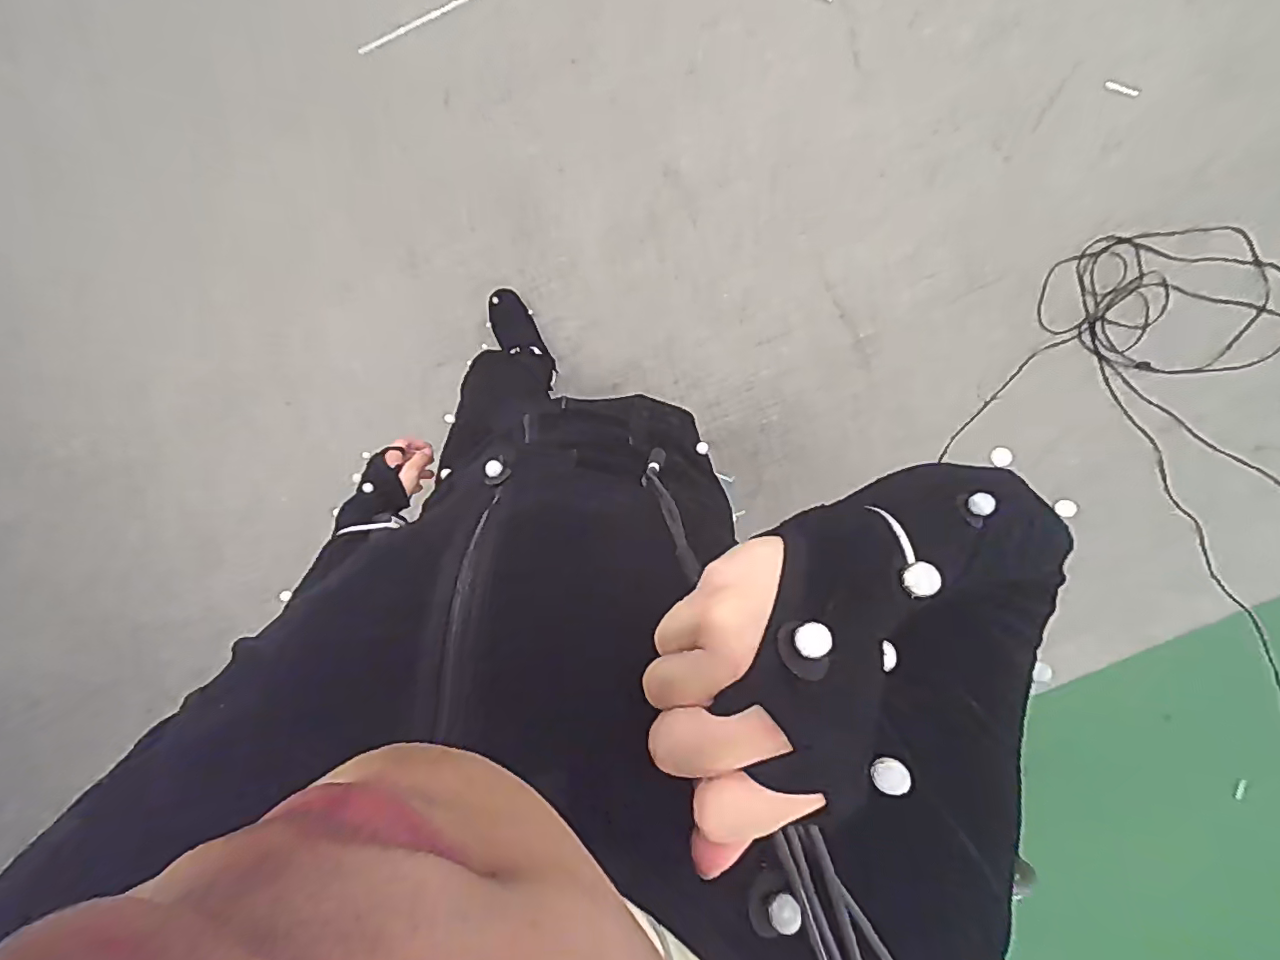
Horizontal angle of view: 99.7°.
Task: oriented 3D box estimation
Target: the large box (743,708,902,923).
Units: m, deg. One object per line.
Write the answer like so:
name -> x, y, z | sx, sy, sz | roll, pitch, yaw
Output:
large box -> 0.474, 0.896, 1.482 | 0.320, 0.320, 0.408 | 0, 102, -2
